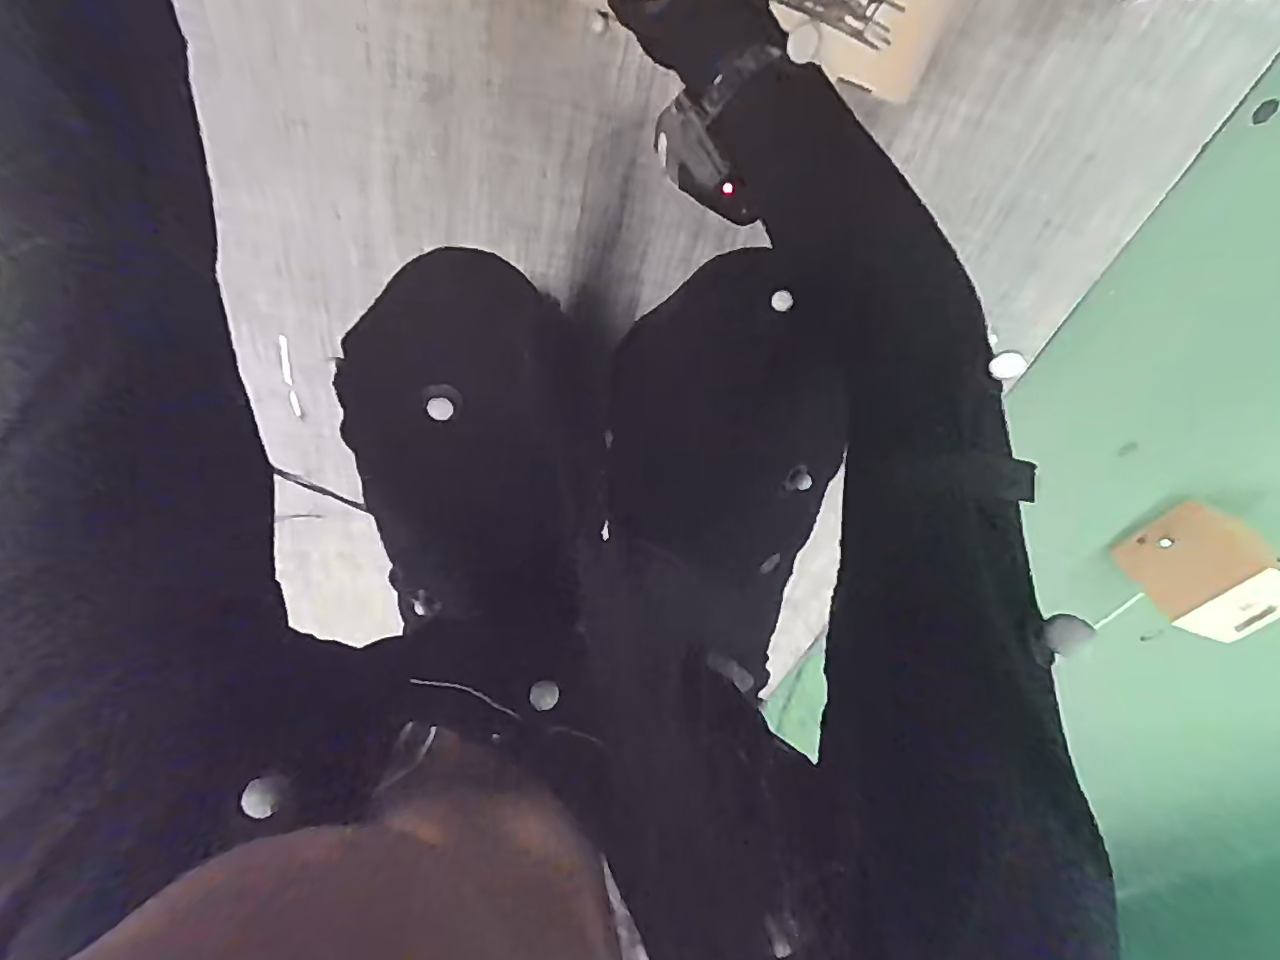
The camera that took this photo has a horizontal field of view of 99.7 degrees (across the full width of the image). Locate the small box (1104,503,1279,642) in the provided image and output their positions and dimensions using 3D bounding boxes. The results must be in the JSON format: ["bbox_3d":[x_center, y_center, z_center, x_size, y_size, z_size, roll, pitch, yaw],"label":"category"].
[{"bbox_3d":[1.026,0.167,0.990,0.179,0.176,0.168,18,127,-18],"label":"small box"}]
